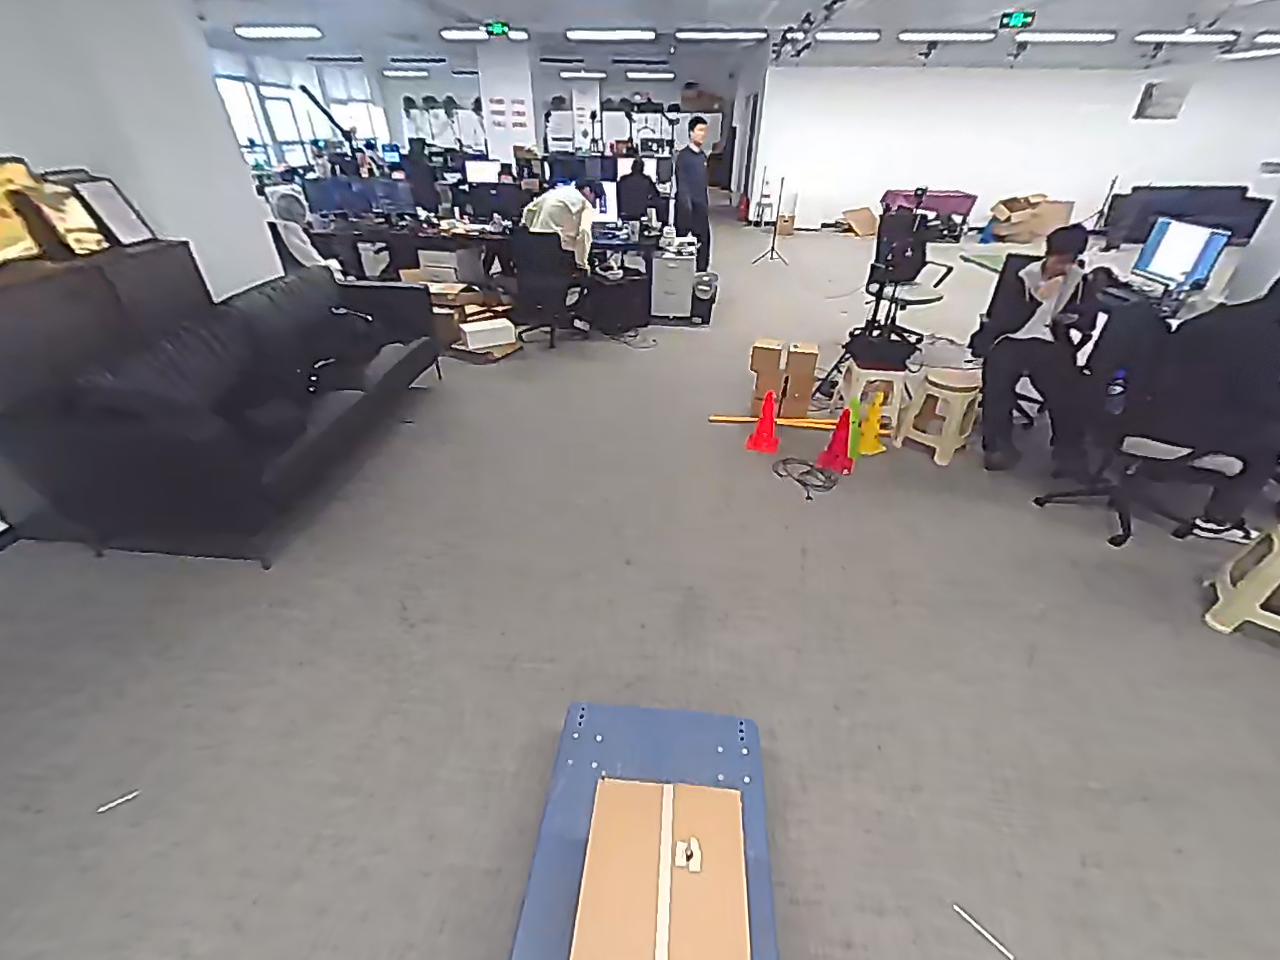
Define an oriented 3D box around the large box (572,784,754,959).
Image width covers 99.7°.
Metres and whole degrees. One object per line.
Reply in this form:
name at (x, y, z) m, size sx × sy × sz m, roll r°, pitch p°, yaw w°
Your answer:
large box at (0.047, 0.897, 1.075) m, size 0.320 × 0.320 × 0.408 m, roll 3°, pitch 32°, yaw 4°
